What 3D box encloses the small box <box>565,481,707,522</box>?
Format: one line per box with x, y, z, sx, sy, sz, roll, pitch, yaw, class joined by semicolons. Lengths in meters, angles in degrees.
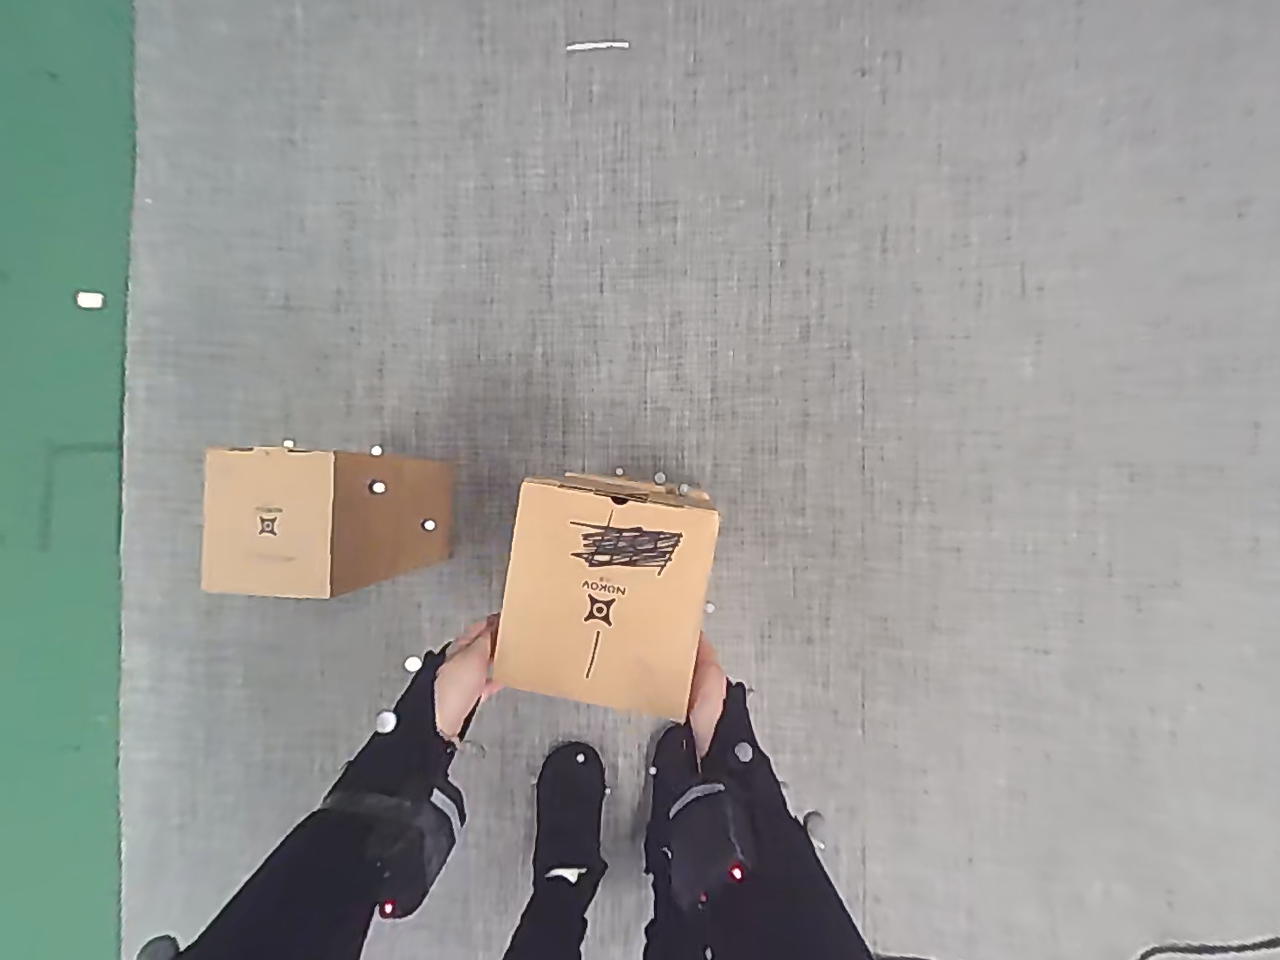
-0.011;0.097;0.690;0.168;0.176;0.179;8;92;5;small box

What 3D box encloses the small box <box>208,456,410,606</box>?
-0.427;0.060;0.722;0.168;0.176;0.179;1;91;6;small box

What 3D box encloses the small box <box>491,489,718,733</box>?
-0.026;0.108;0.527;0.168;0.176;0.179;10;93;4;small box

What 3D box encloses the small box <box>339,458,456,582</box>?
-0.417;0.058;0.885;0.168;0.176;0.179;4;91;5;small box
